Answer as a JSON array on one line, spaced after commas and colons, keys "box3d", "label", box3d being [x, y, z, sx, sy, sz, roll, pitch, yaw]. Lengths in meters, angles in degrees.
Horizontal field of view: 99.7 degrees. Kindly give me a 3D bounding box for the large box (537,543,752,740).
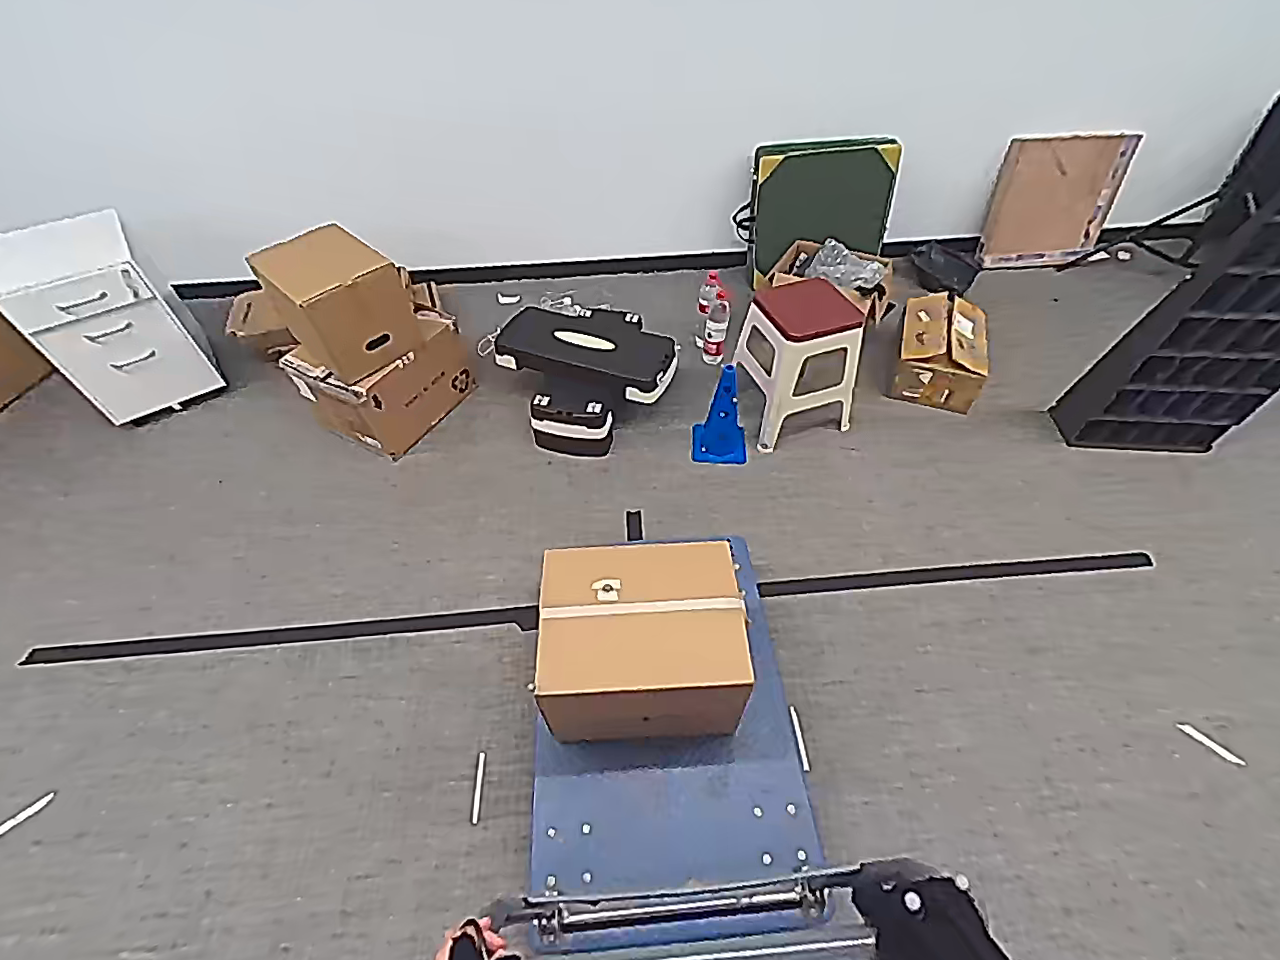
[{"box3d": [0.006, 0.363, 1.197, 0.408, 0.320, 0.320, -4, 50, -1], "label": "large box"}]
